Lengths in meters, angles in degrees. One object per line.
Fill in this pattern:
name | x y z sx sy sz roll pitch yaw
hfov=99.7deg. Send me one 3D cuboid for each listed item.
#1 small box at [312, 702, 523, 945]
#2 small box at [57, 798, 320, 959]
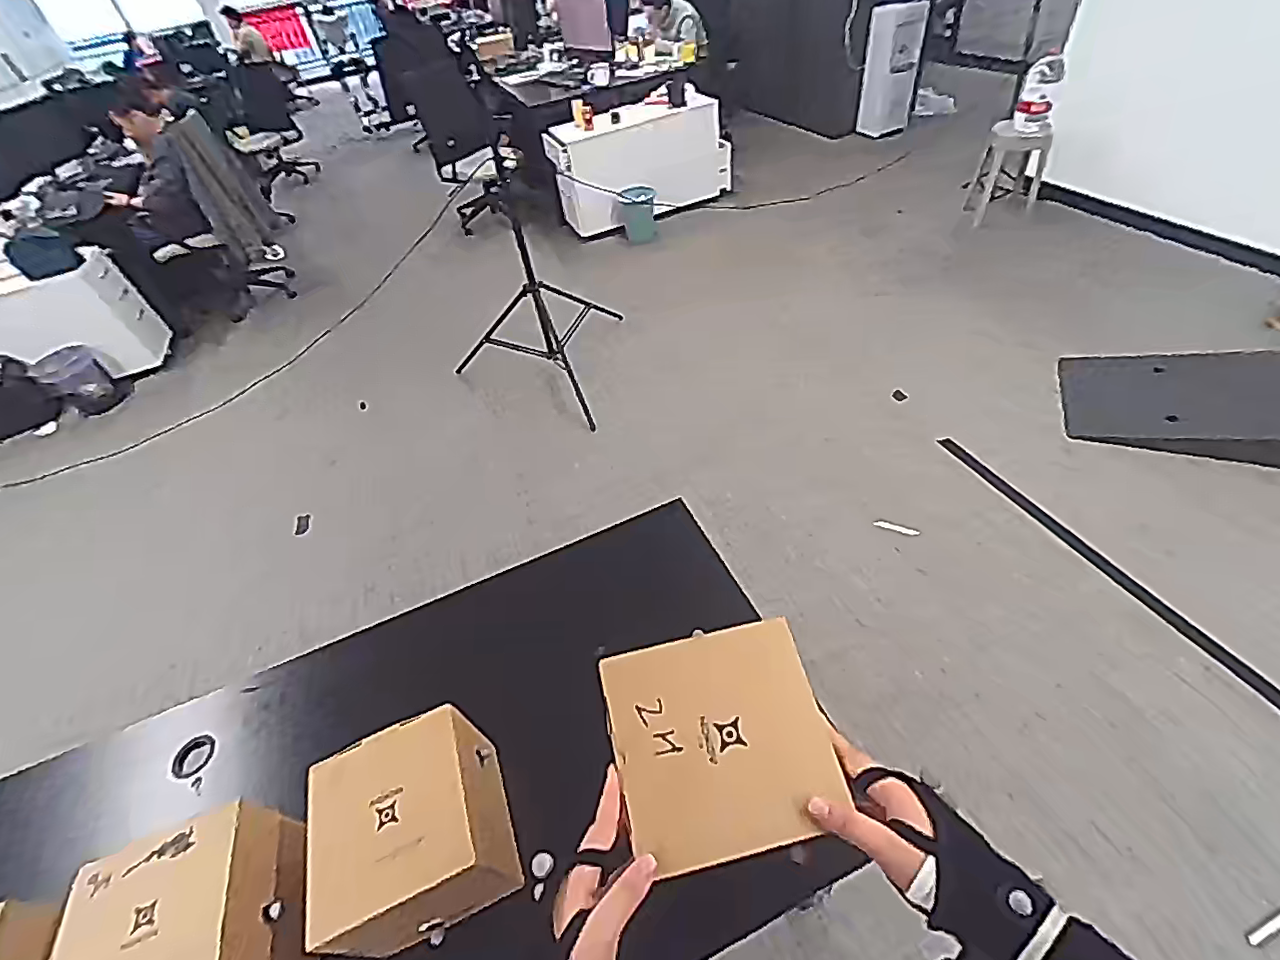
small box | -0.254 0.402 0.635 0.168 0.176 0.179 -23 49 -10
small box | -0.472 0.489 0.588 0.168 0.176 0.179 -21 48 -11
